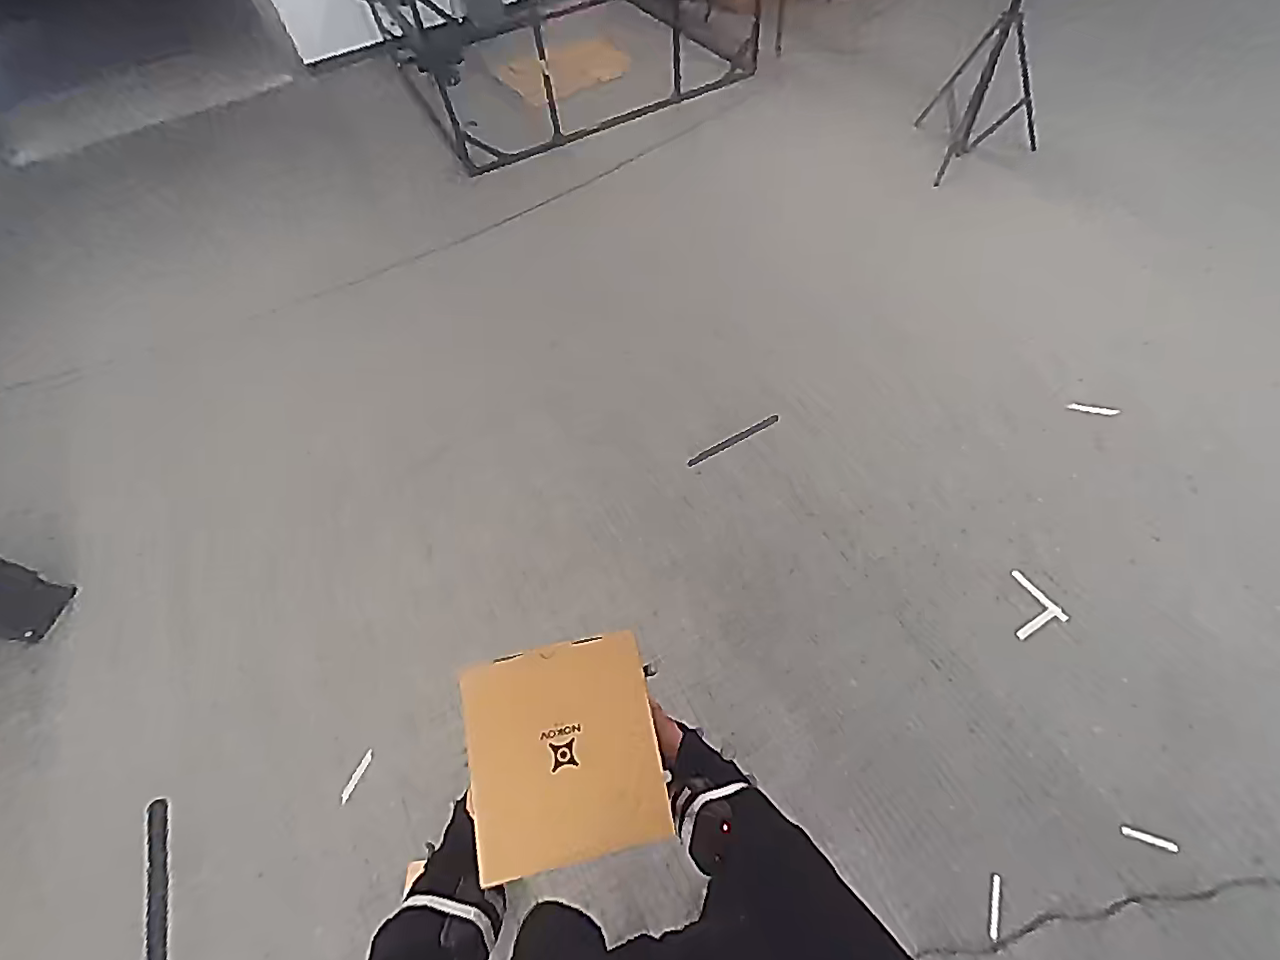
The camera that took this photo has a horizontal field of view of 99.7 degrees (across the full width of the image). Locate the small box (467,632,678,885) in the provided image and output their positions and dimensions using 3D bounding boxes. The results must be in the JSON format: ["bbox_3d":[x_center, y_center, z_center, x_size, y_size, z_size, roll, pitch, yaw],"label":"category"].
[{"bbox_3d":[-0.064,0.261,0.545,0.168,0.176,0.179,-10,70,-6],"label":"small box"}]
